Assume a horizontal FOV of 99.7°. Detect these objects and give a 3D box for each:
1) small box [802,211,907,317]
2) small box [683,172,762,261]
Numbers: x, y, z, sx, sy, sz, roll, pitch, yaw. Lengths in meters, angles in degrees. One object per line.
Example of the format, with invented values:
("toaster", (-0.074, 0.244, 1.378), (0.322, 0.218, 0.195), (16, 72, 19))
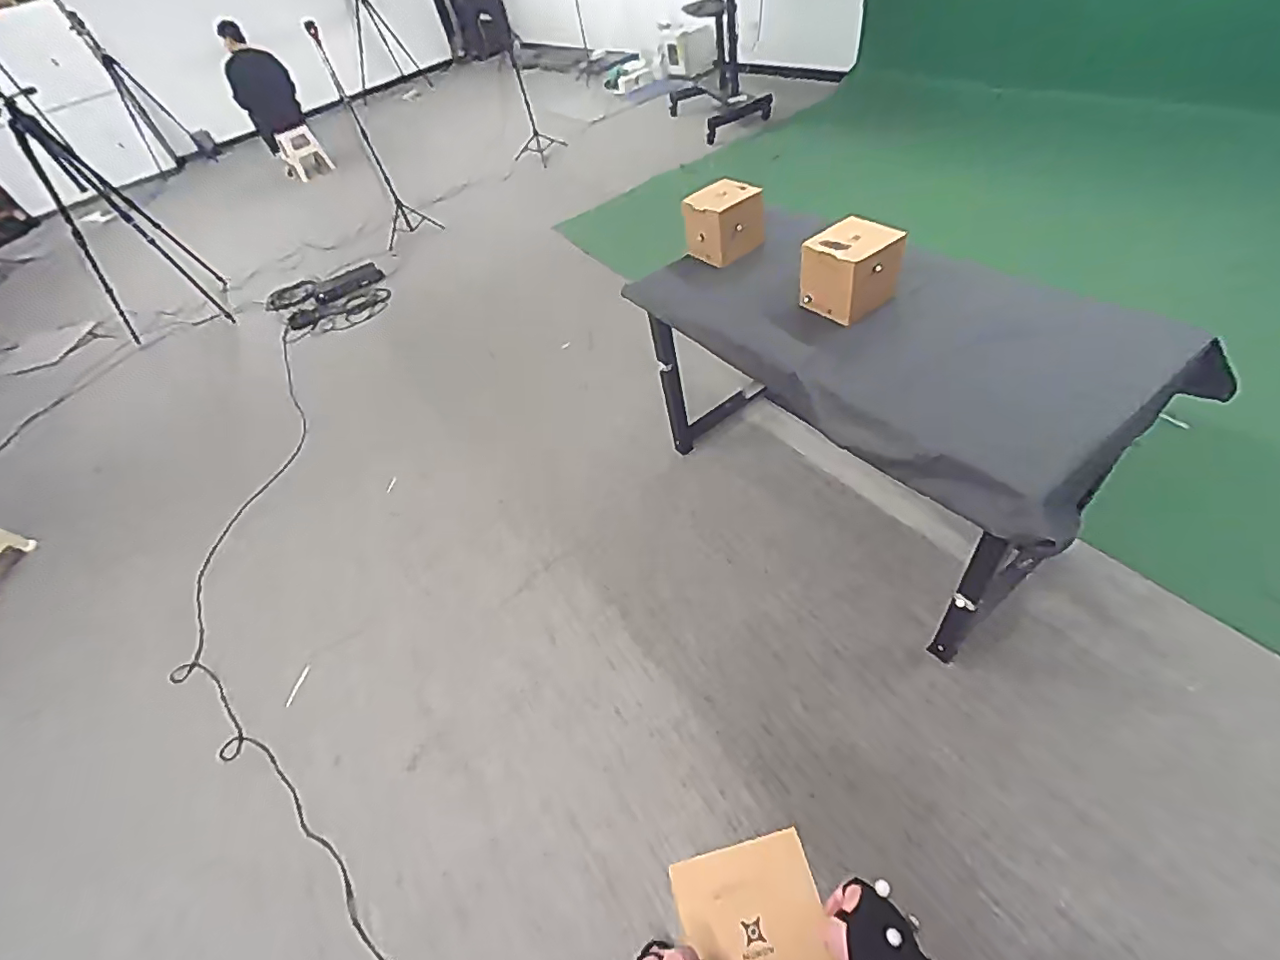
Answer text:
("small box", (0.523, -0.530, 1.335), (0.179, 0.176, 0.168), (-33, 50, -15))
("small box", (0.254, -0.791, 1.627), (0.179, 0.176, 0.168), (-35, 52, -15))
